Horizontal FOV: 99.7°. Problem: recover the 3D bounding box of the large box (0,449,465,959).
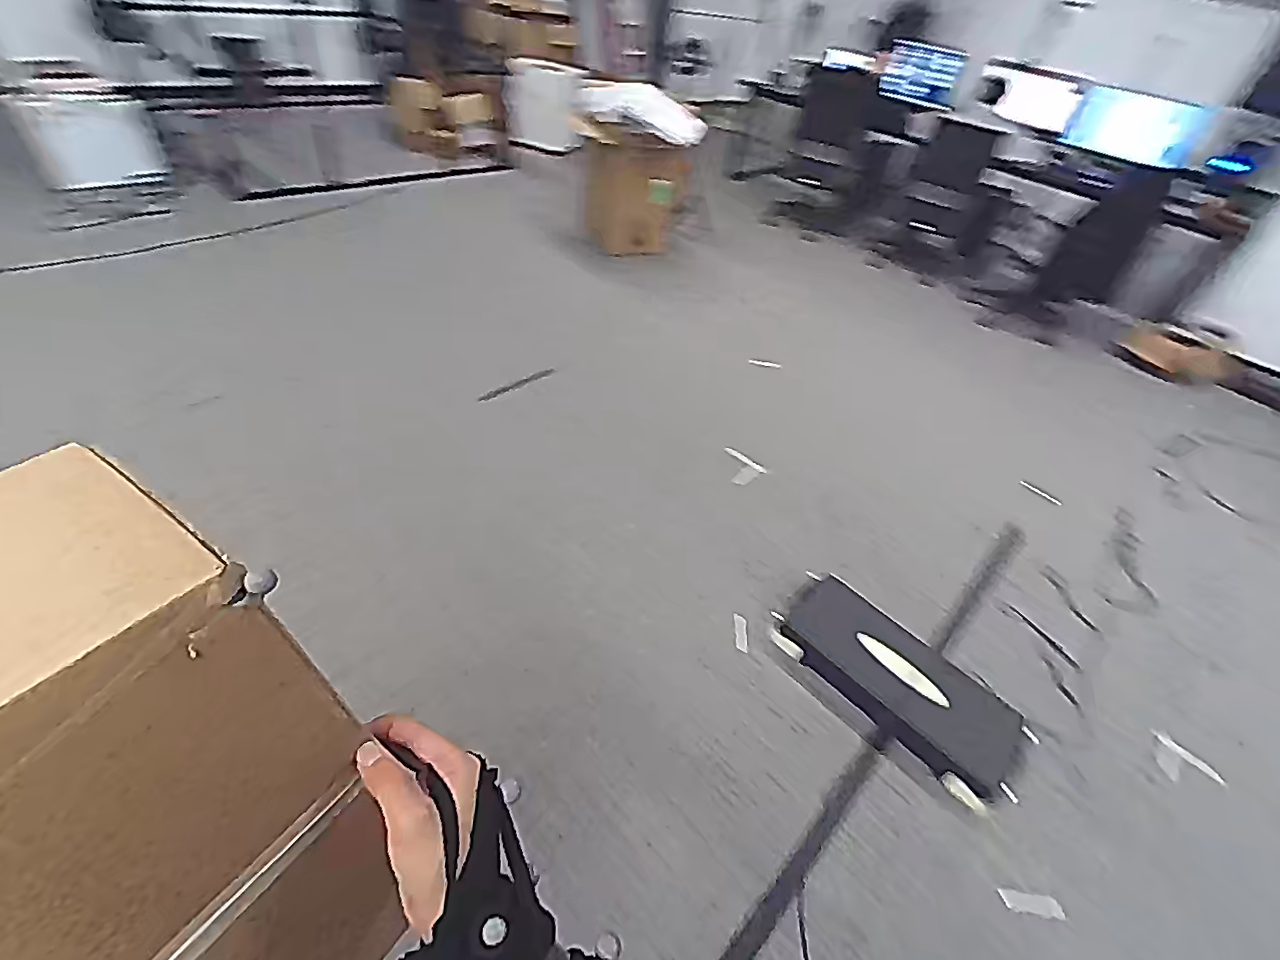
[{"bbox_3d":[-0.397,0.234,0.310,0.320,0.320,0.408,18,44,34],"label":"large box"}]
